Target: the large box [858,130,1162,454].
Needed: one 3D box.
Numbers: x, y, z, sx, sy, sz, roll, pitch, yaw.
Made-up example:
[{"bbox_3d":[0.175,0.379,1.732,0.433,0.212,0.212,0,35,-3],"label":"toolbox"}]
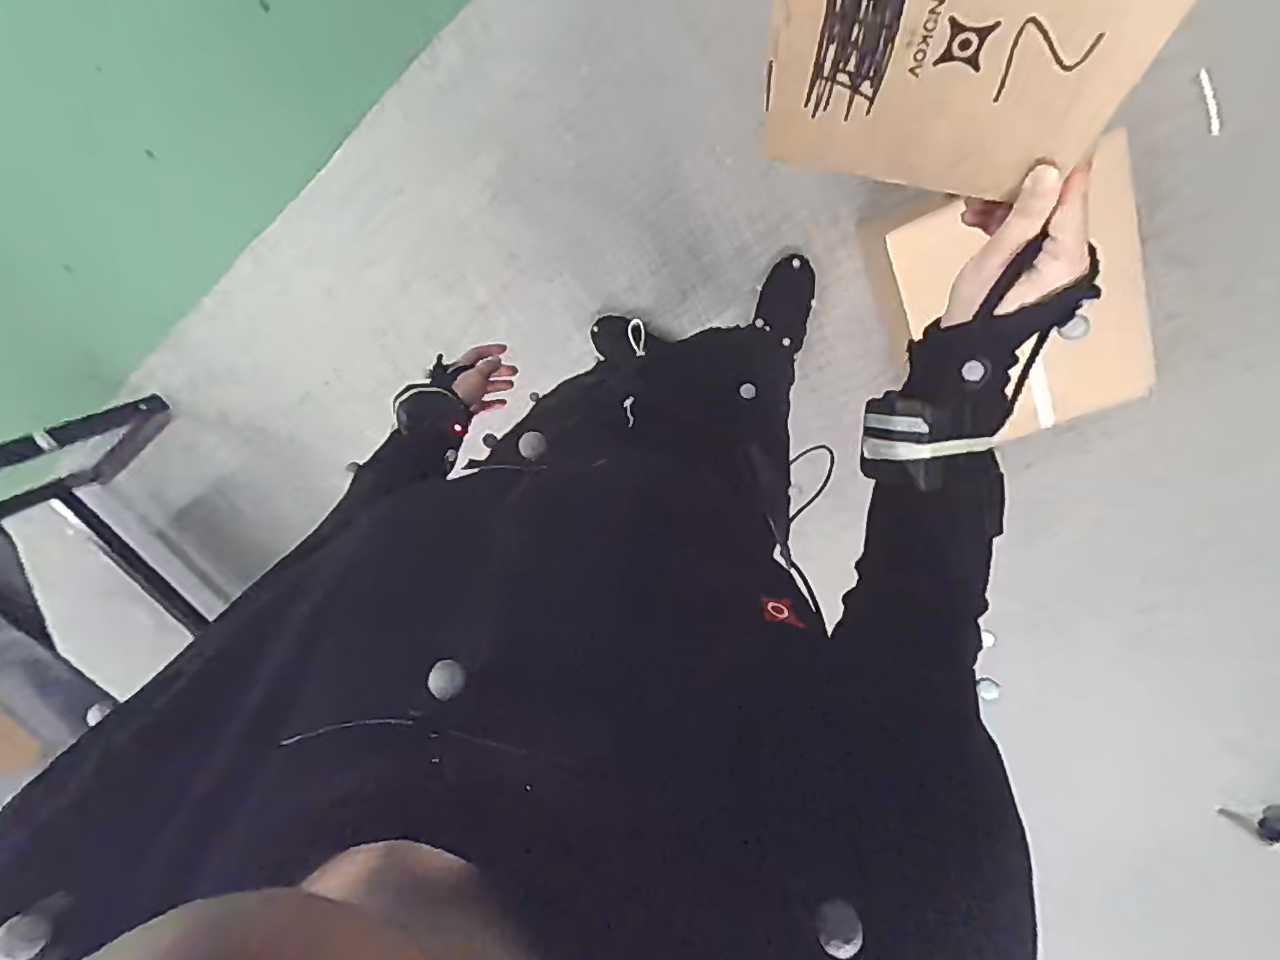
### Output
[{"bbox_3d":[0.628,-0.324,0.967,0.320,0.320,0.408,-19,111,22],"label":"large box"}]
